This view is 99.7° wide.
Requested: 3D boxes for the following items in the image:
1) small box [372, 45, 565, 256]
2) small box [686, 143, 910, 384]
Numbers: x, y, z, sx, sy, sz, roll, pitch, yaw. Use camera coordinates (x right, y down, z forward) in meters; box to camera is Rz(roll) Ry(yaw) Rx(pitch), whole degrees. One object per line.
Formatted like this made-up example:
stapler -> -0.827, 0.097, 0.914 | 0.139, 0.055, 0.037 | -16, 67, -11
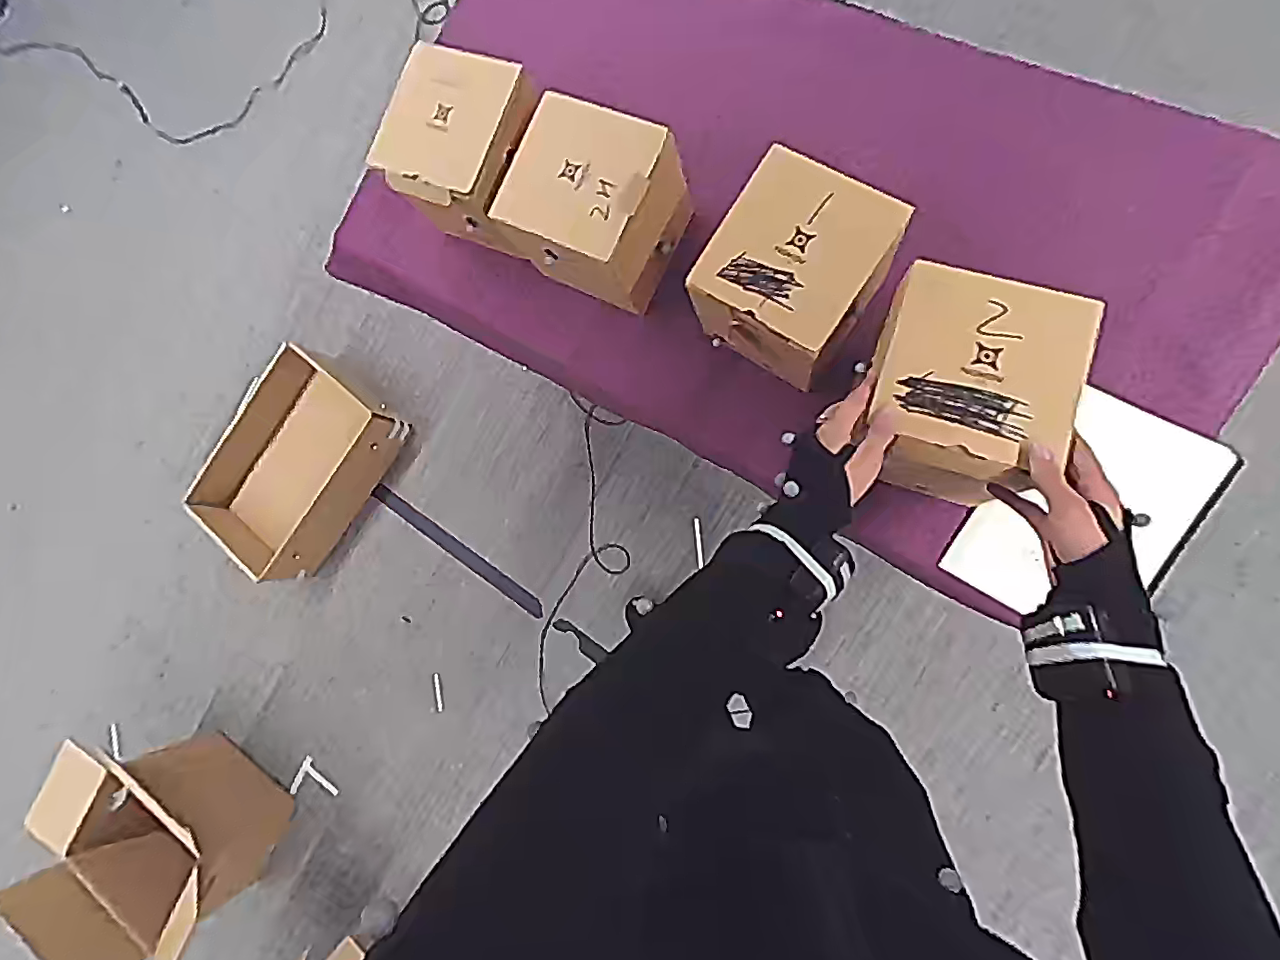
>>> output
small box -> -0.227, -0.447, 0.758 | 0.168, 0.176, 0.179 | 23, 91, 14
small box -> 0.180, -0.237, 0.638 | 0.168, 0.176, 0.179 | 34, 94, 14
